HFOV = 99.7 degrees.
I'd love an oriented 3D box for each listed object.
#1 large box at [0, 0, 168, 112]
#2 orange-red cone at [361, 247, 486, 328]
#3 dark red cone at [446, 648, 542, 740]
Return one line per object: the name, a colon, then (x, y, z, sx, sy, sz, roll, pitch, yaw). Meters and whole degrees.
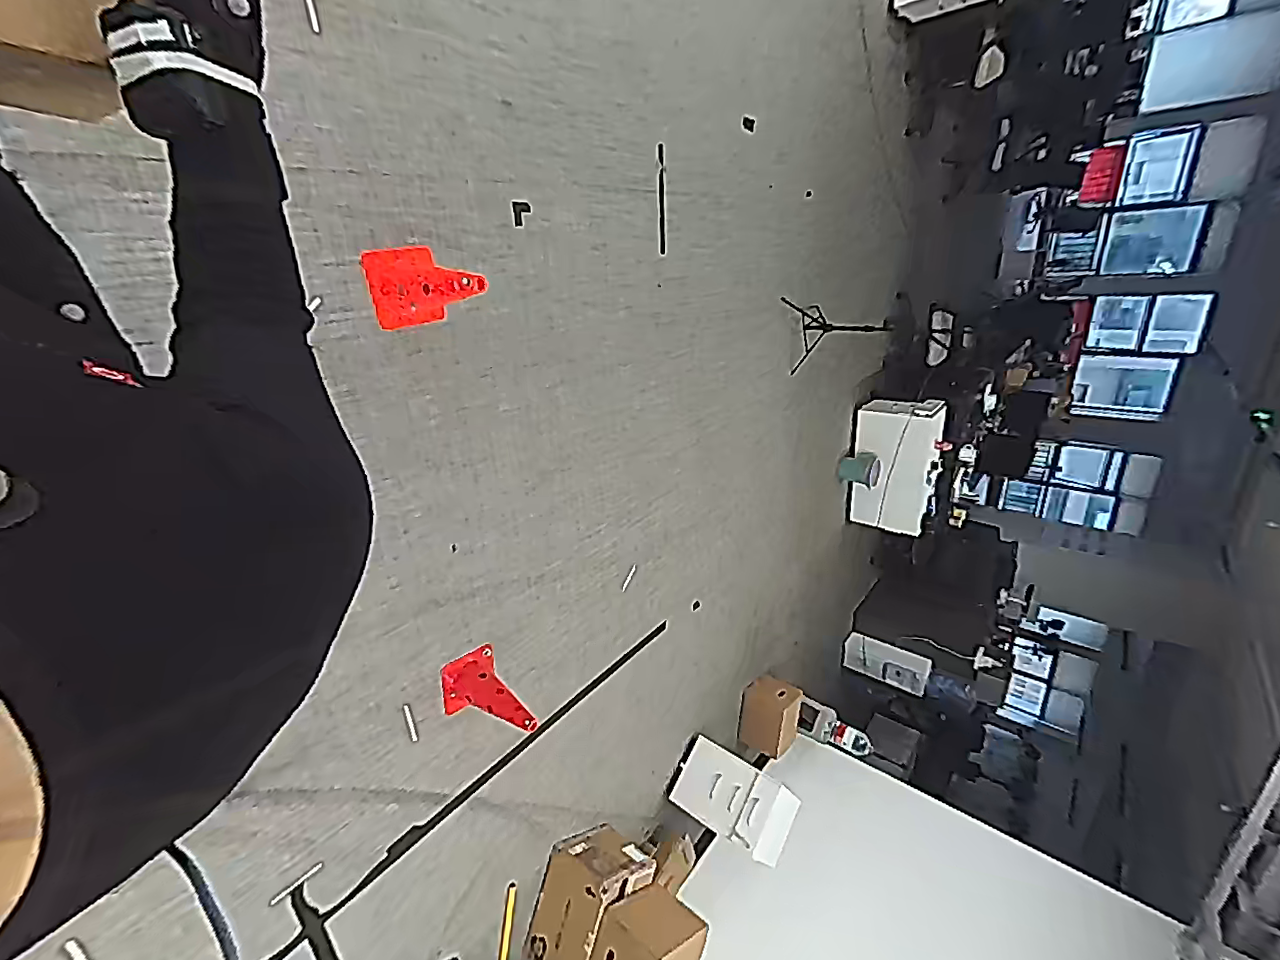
large box: (-0.563, -0.432, 0.272, 0.408, 0.320, 0.320, -18, 121, -48)
orange-red cone: (-0.510, -0.494, 1.363, 0.198, 0.360, 0.199, -30, 122, -44)
dark red cone: (-0.458, 0.737, 1.779, 0.201, 0.394, 0.202, -18, 115, -46)
